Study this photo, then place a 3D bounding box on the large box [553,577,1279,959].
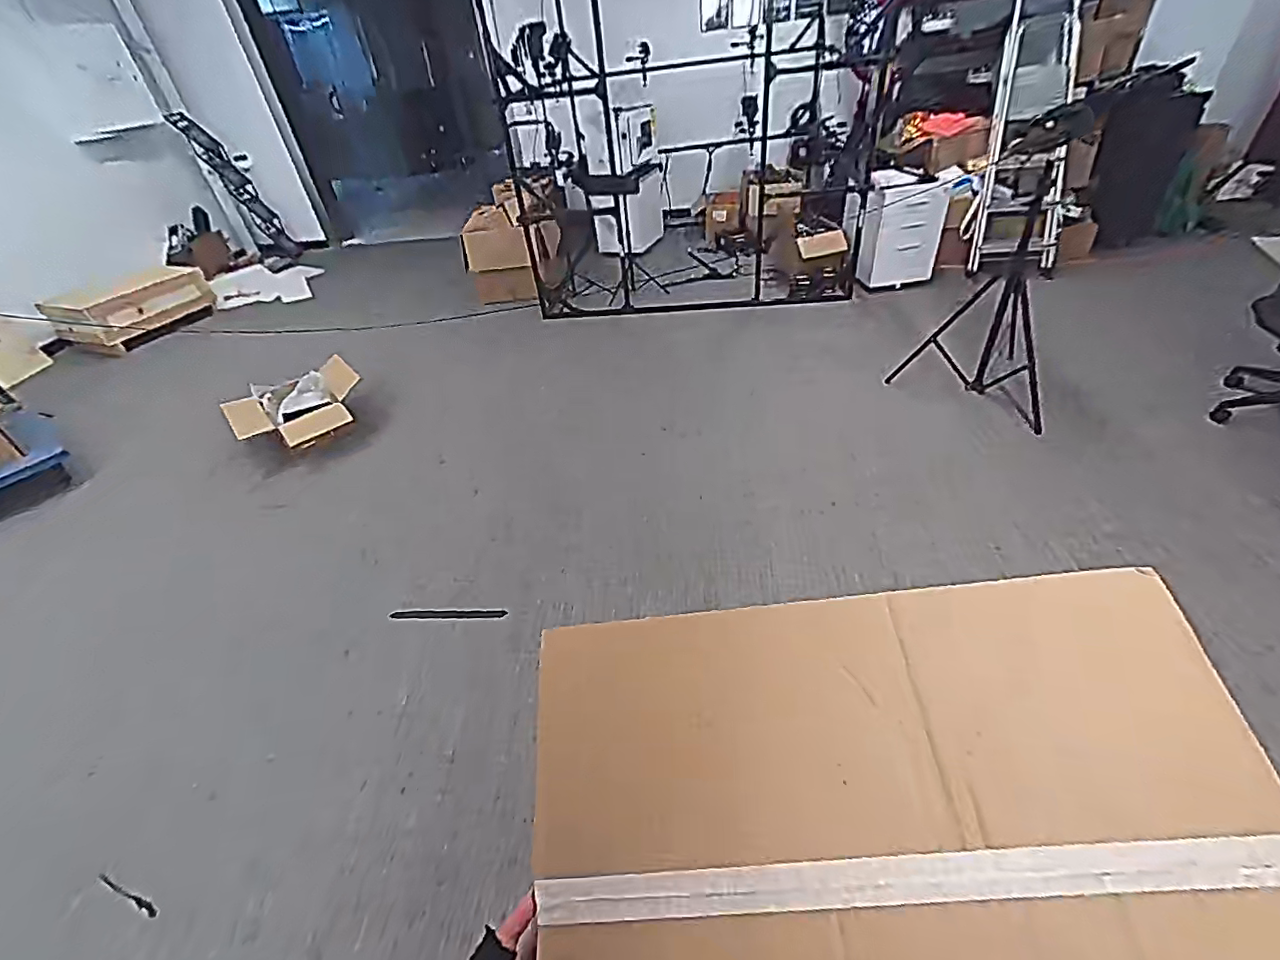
[{"bbox_3d":[0.167,0.296,0.427,0.408,0.320,0.320,-8,60,7],"label":"large box"}]
